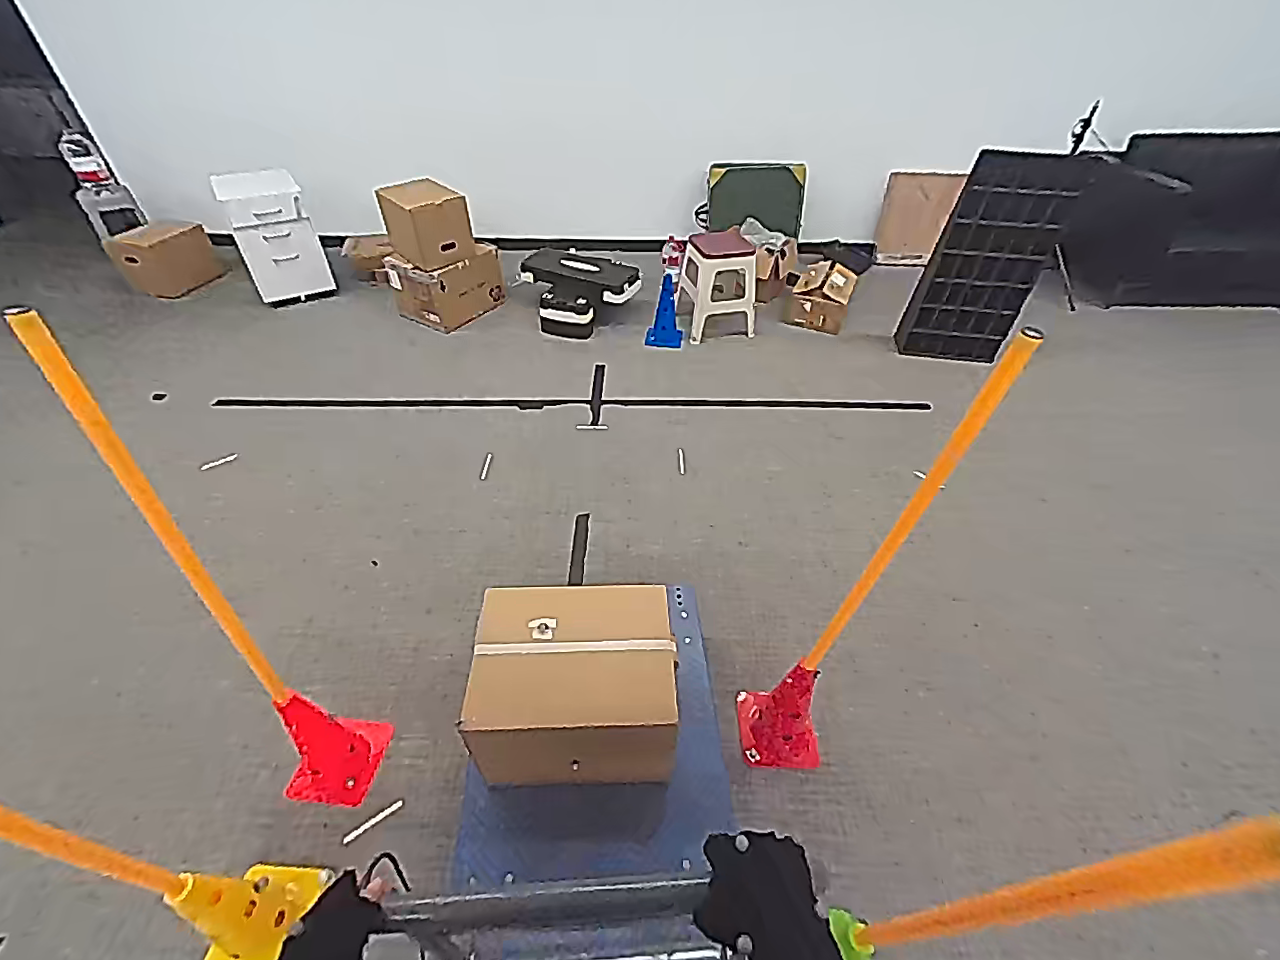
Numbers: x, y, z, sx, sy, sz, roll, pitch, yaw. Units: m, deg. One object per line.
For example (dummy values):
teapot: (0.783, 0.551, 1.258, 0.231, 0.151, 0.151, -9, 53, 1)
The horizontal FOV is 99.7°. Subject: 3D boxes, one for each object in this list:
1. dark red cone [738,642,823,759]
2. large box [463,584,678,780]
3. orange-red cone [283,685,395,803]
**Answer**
dark red cone: (0.379, 0.521, 1.335, 0.201, 0.394, 0.202, 2, 43, -2)
large box: (-0.134, 0.453, 1.210, 0.408, 0.320, 0.320, -1, 43, -2)
orange-red cone: (-0.752, 0.582, 1.272, 0.198, 0.360, 0.199, 7, 42, 4)
